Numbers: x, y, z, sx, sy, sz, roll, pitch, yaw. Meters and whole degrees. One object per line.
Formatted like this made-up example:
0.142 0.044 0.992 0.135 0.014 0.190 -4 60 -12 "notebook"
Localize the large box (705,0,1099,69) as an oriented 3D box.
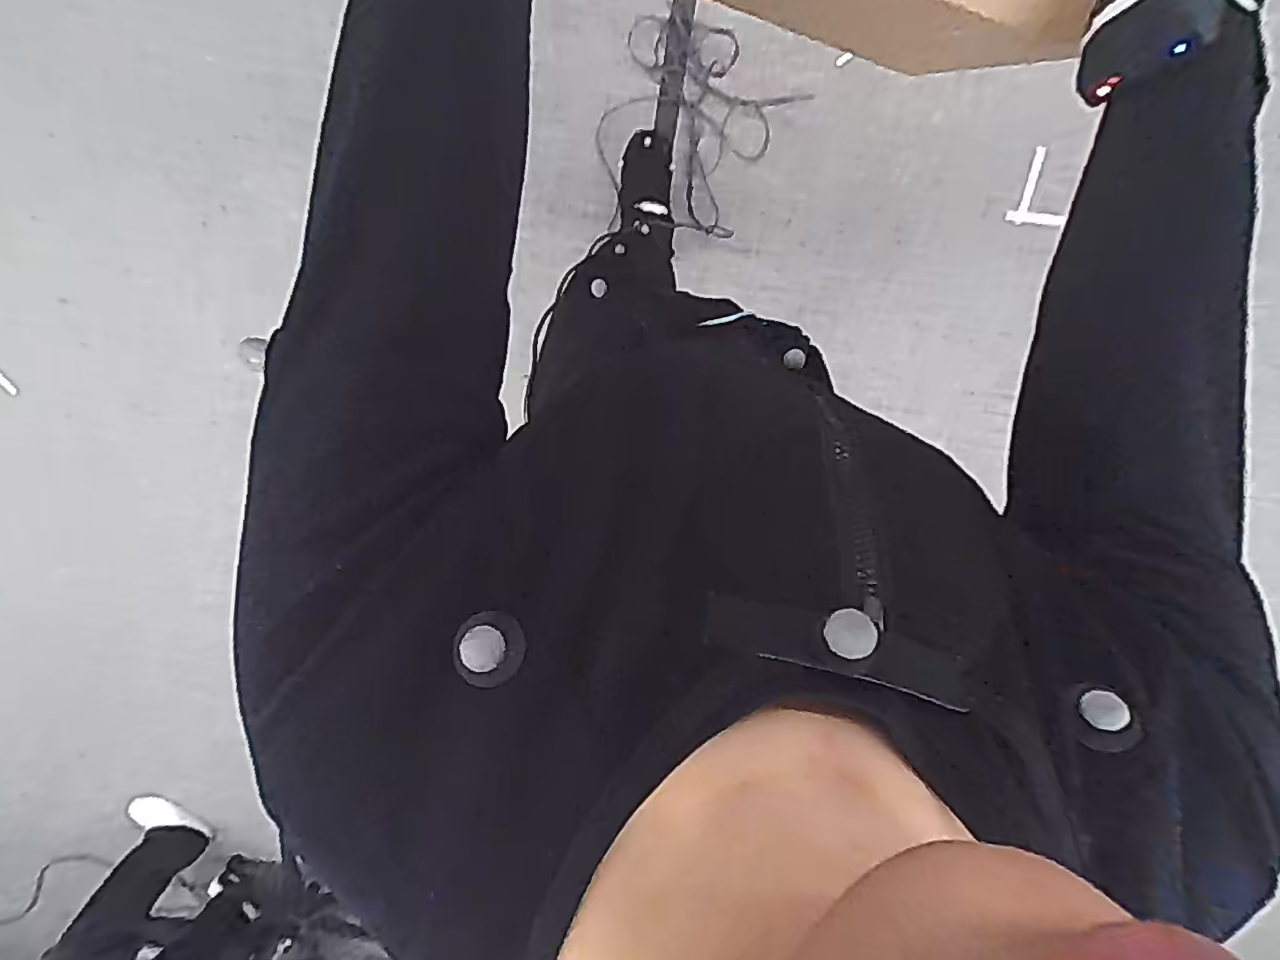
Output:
0.166 -0.565 0.413 0.408 0.320 0.320 12 125 -9 "large box"
